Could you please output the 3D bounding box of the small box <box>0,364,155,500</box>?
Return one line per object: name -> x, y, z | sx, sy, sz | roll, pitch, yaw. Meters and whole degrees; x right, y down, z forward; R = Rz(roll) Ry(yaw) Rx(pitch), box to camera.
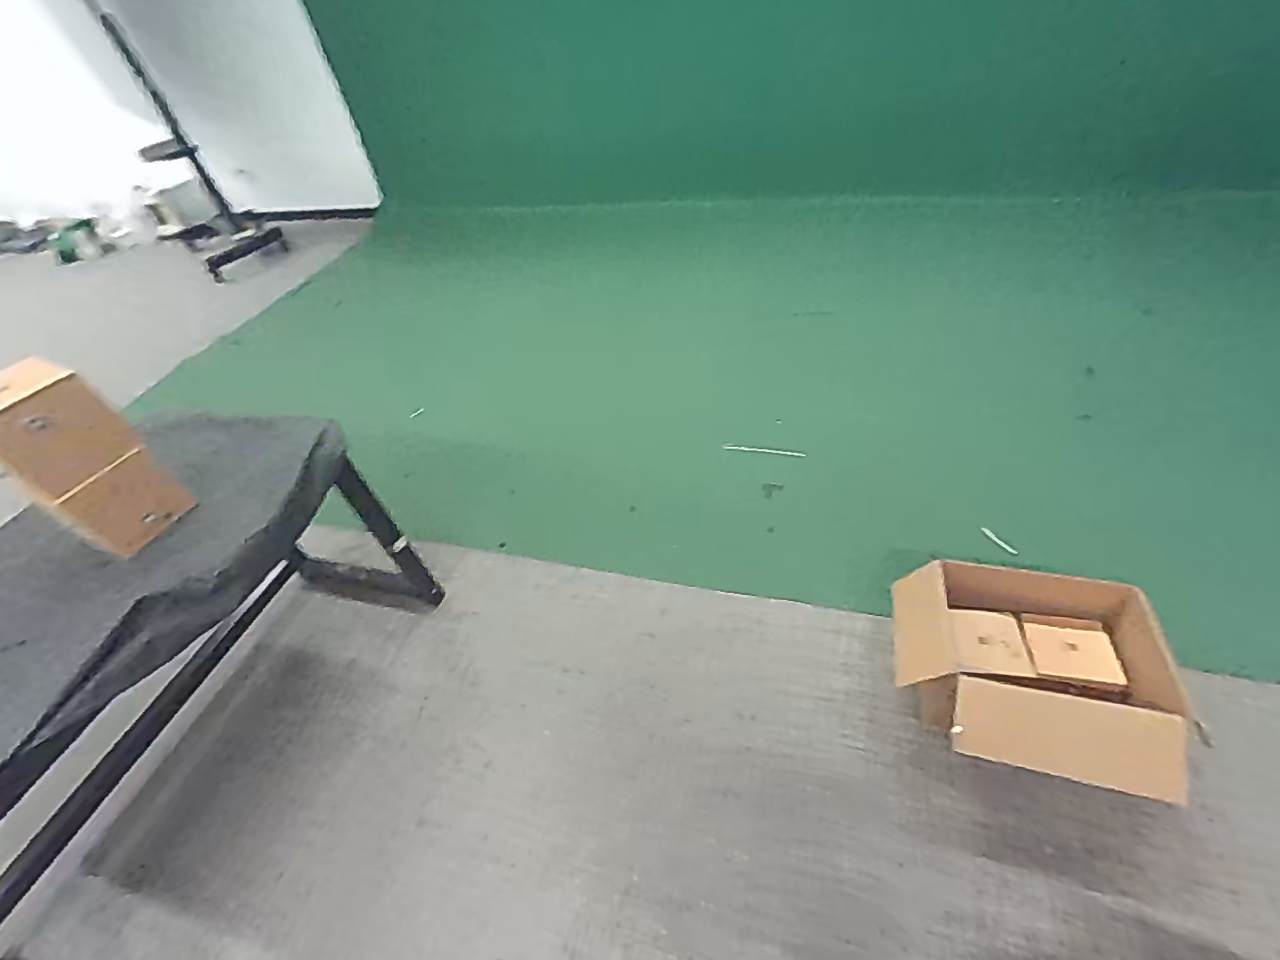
small box -> -1.083, -0.088, 1.007 | 0.168, 0.176, 0.179 | 15, 50, 22
